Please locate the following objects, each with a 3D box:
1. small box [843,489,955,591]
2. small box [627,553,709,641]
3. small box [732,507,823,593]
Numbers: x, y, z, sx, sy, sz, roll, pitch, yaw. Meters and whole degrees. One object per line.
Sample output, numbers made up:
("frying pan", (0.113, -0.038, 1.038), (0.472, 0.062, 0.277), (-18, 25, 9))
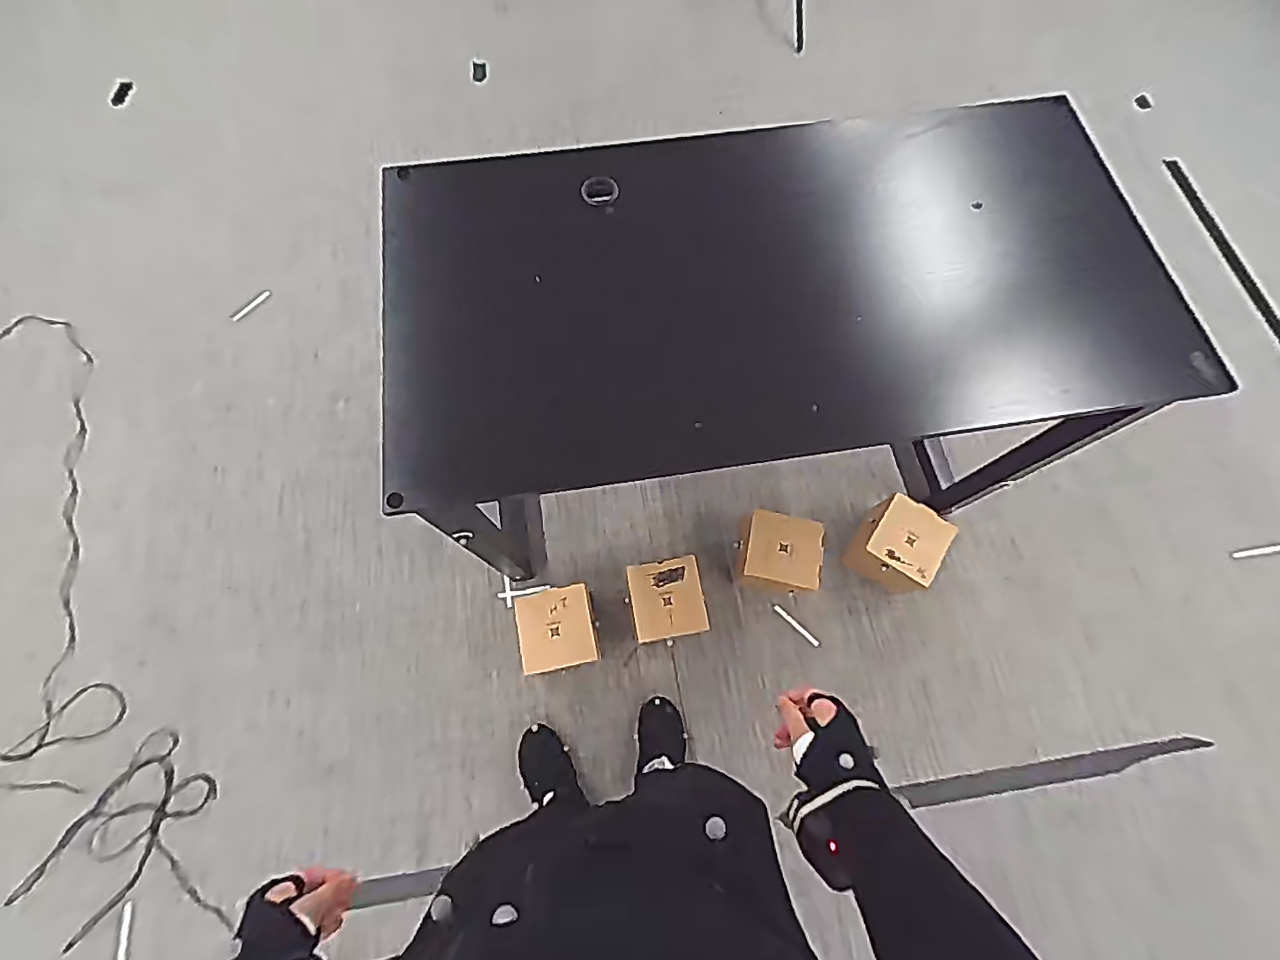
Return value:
("small box", (0.641, 0.157, 1.361), (0.168, 0.176, 0.179), (33, 74, 10))
("small box", (0.060, 0.289, 1.314), (0.168, 0.176, 0.179), (-10, 73, -3))
("small box", (0.339, 0.182, 1.353), (0.179, 0.176, 0.168), (11, 71, 4))
